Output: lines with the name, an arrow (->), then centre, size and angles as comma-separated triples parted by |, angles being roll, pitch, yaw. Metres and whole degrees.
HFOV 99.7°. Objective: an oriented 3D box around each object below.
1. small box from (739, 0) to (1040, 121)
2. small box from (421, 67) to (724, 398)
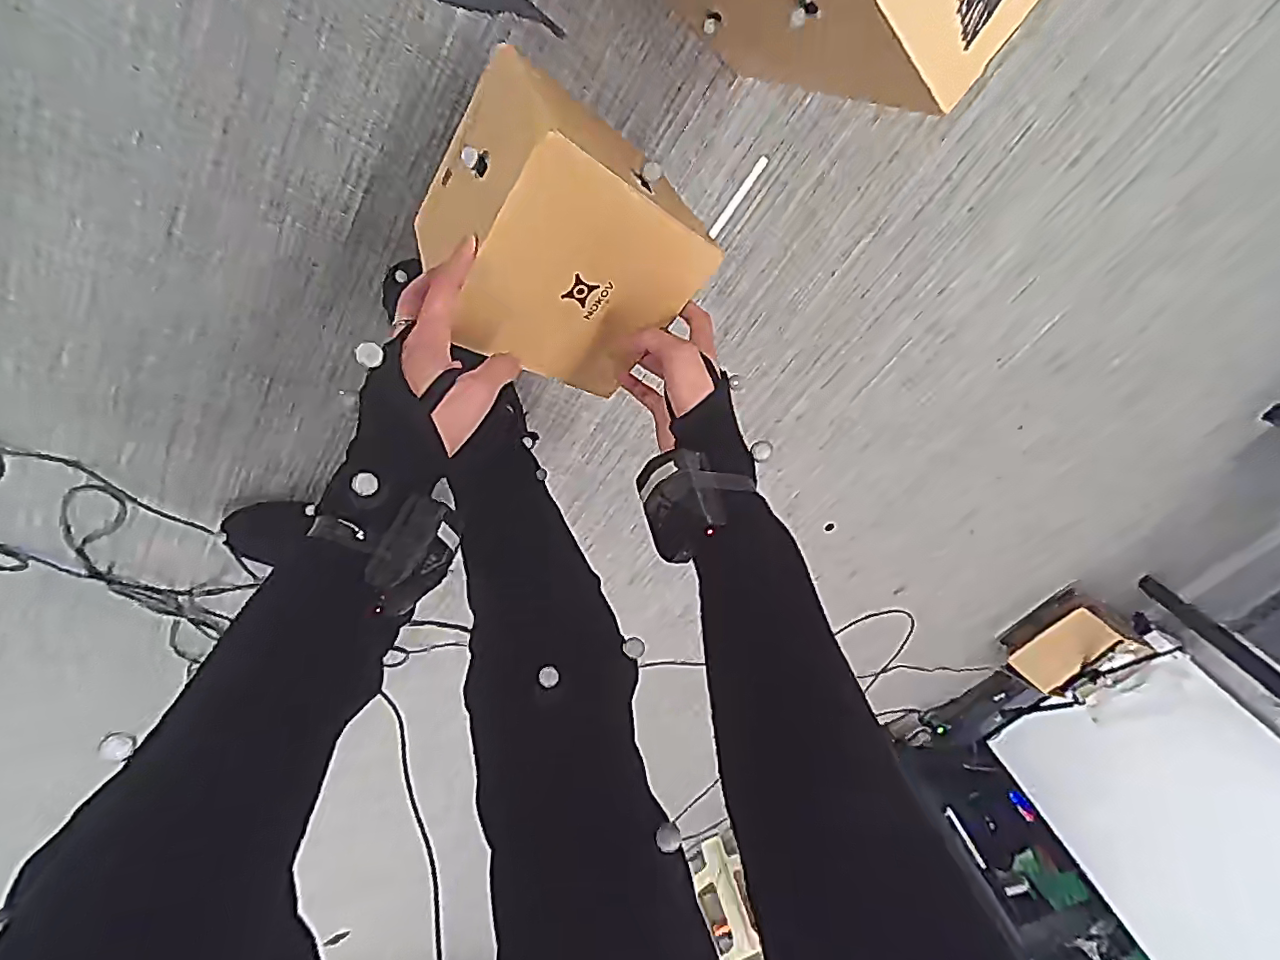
small box -> 0.161, -0.374, 0.341 | 0.179, 0.176, 0.168 | 24, 117, -34
small box -> -0.068, -0.204, 0.460 | 0.179, 0.176, 0.168 | 13, 132, -42
